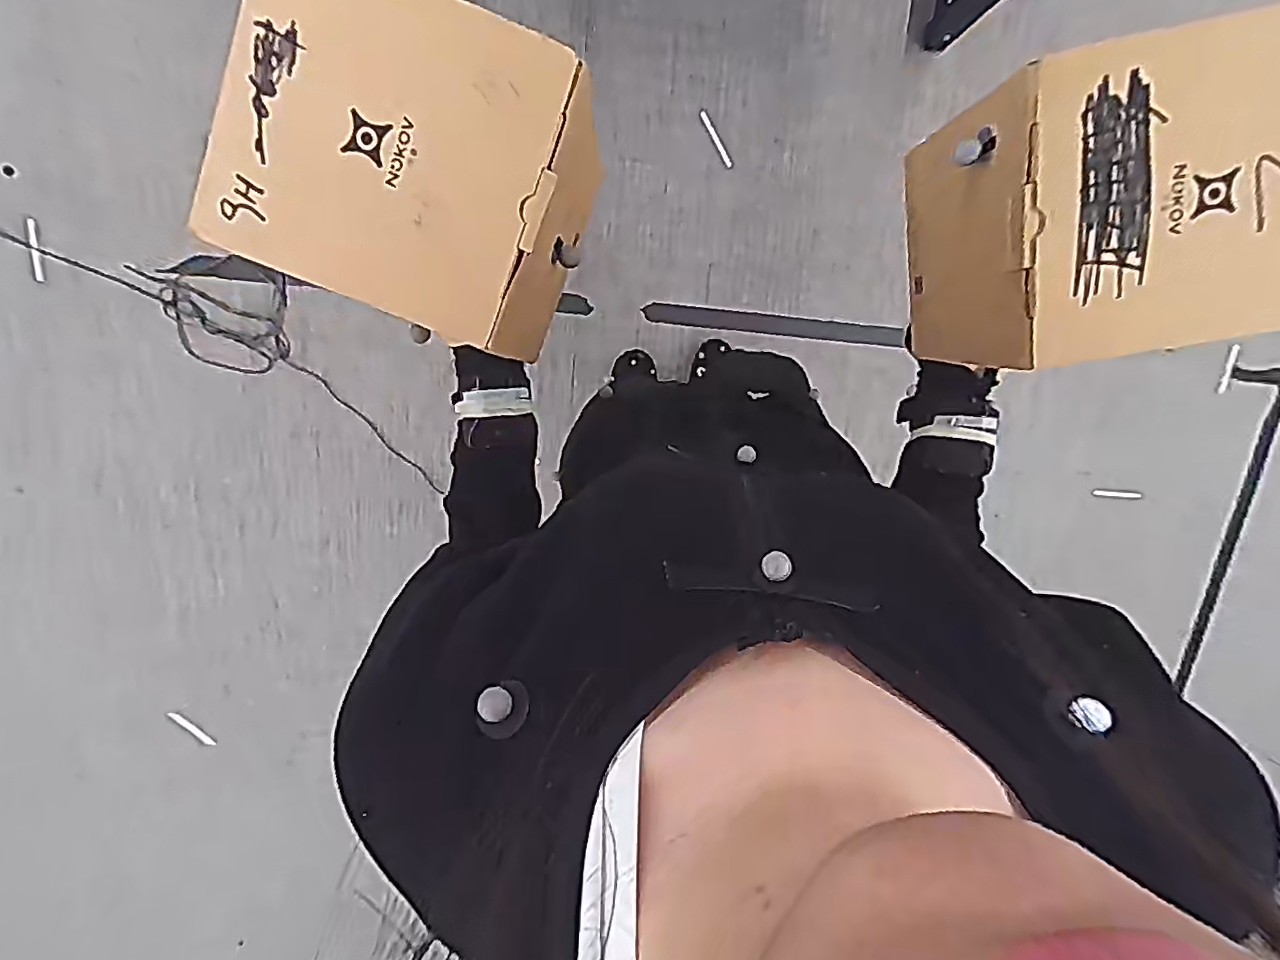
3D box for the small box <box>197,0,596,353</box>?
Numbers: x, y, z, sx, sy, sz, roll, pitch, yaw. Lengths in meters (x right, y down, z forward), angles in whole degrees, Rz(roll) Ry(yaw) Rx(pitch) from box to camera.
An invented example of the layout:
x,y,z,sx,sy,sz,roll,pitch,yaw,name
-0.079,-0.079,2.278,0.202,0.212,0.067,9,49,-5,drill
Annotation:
x,y,z,sx,sy,sz,roll,pitch,yaw,name
-0.137,-0.194,0.371,0.179,0.176,0.168,21,98,-6,small box
